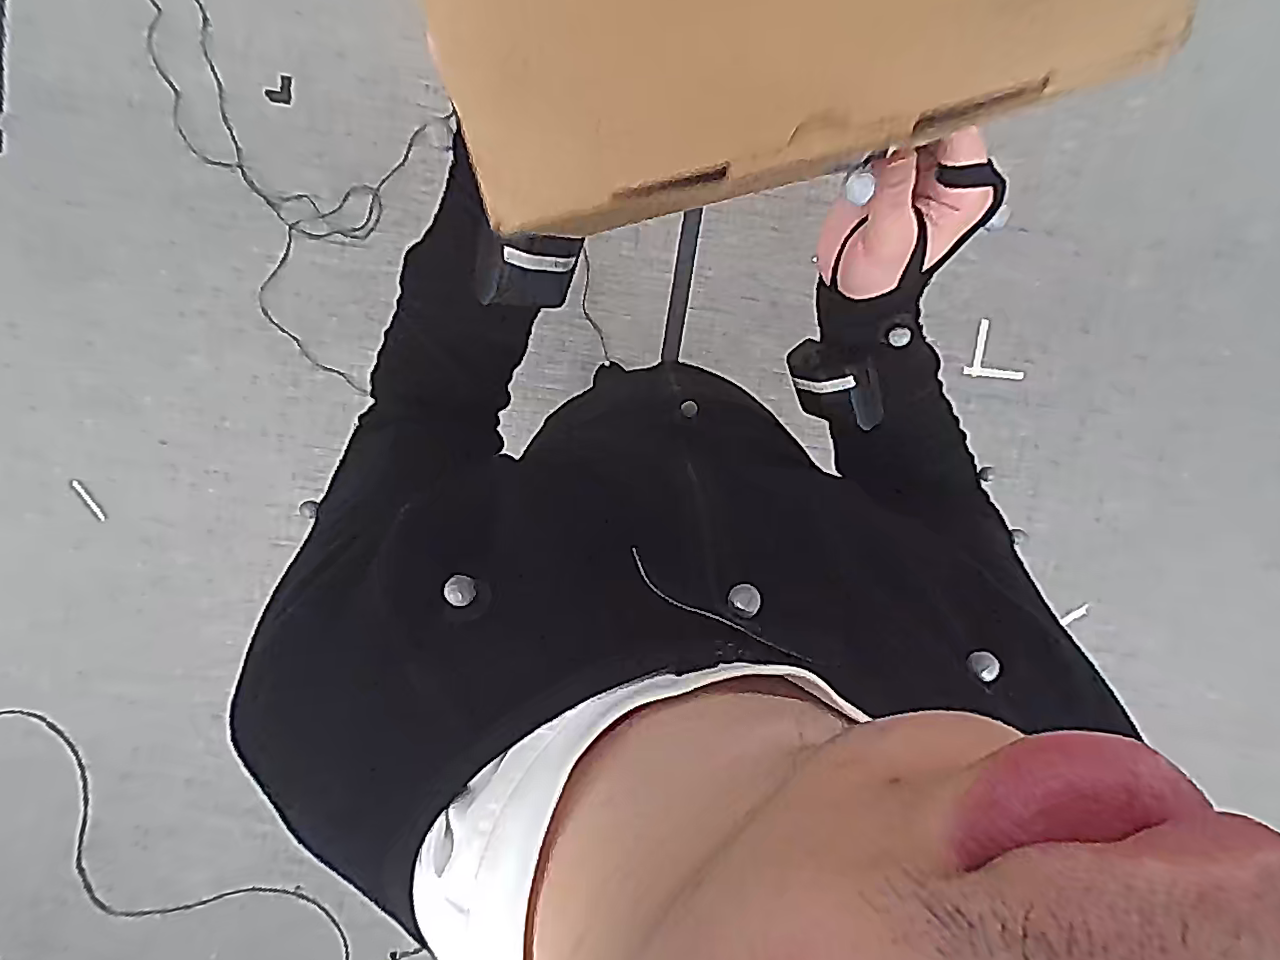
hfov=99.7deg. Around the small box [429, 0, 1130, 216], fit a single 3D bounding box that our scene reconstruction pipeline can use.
[{"bbox_3d":[0.019,-0.199,0.180,0.168,0.176,0.179,-13,111,4],"label":"small box"}]
